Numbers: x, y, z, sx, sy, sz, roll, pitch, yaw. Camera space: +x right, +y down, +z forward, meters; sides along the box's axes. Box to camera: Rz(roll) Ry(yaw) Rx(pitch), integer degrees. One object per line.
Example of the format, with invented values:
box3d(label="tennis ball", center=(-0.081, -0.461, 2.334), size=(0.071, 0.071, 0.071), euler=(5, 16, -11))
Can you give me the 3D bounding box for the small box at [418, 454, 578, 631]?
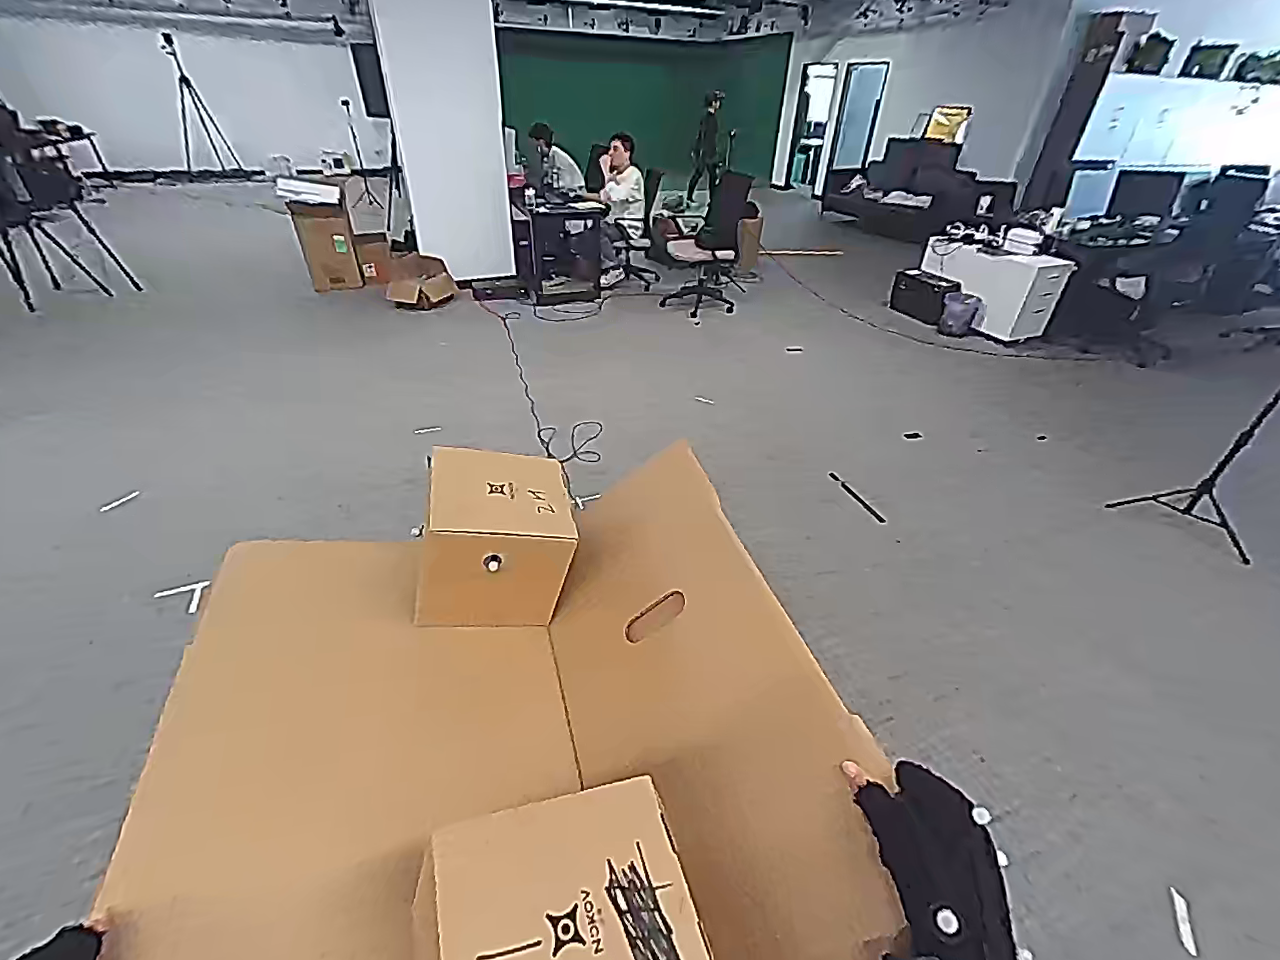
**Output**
box3d(label="small box", center=(-0.198, 0.087, 0.731), size=(0.179, 0.176, 0.168), euler=(7, 36, -23))
